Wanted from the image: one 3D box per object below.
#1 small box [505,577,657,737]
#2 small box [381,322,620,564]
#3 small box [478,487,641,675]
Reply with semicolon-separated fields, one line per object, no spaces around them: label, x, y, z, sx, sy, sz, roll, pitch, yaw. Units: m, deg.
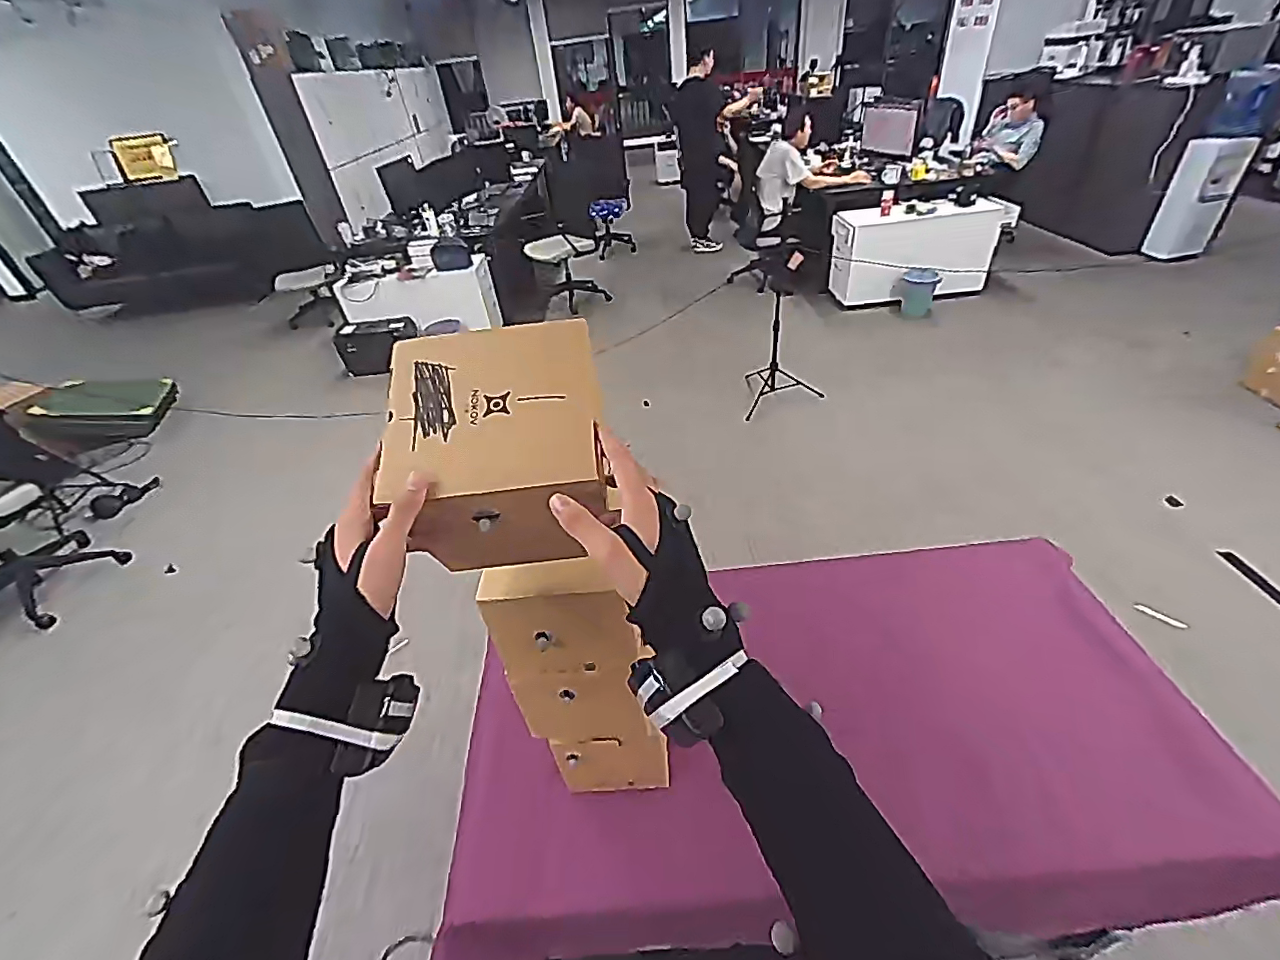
small box;-0.074;0.259;0.797;0.179;0.176;0.168;-1;39;8
small box;-0.118;-0.026;0.526;0.179;0.176;0.168;-6;62;0
small box;-0.088;0.133;0.694;0.168;0.176;0.179;-5;37;3
